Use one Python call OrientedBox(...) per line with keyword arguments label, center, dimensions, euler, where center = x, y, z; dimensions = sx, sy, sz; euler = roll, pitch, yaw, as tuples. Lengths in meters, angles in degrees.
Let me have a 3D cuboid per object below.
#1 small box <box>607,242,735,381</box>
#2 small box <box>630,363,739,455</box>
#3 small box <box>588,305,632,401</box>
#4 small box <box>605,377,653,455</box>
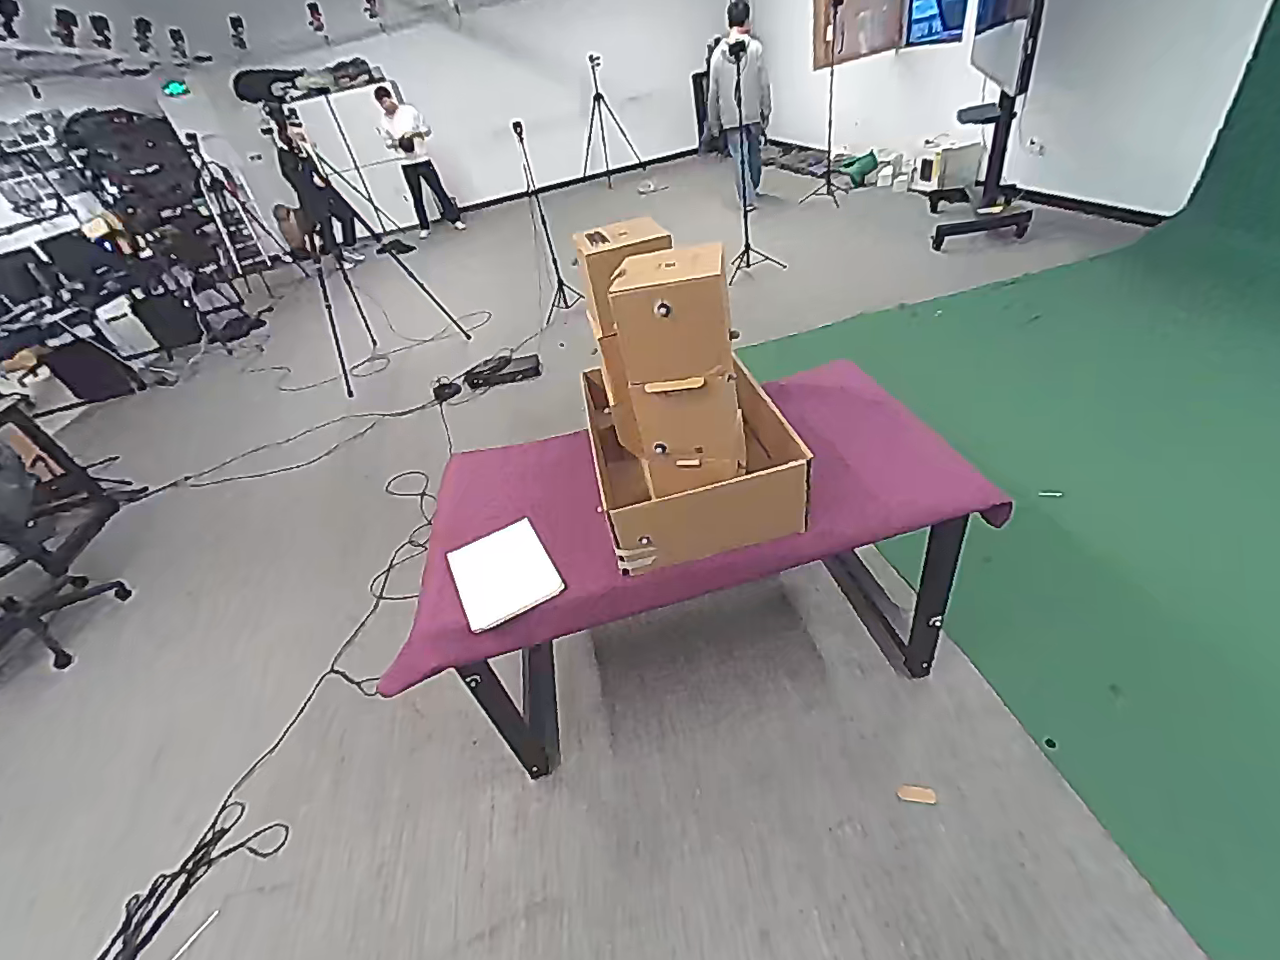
OrientedBox(label="small box", center=(0.062, -0.281, 0.917), dimensions=(0.179, 0.176, 0.168), euler=(-4, 39, 14))
OrientedBox(label="small box", center=(0.093, -0.157, 1.018), dimensions=(0.168, 0.176, 0.179), euler=(-3, 38, 16))
OrientedBox(label="small box", center=(-0.007, -0.301, 1.240), dimensions=(0.179, 0.176, 0.168), euler=(-16, 39, -3))
OrientedBox(label="small box", center=(0.017, -0.179, 1.344), dimensions=(0.168, 0.176, 0.179), euler=(-14, 39, -1))
